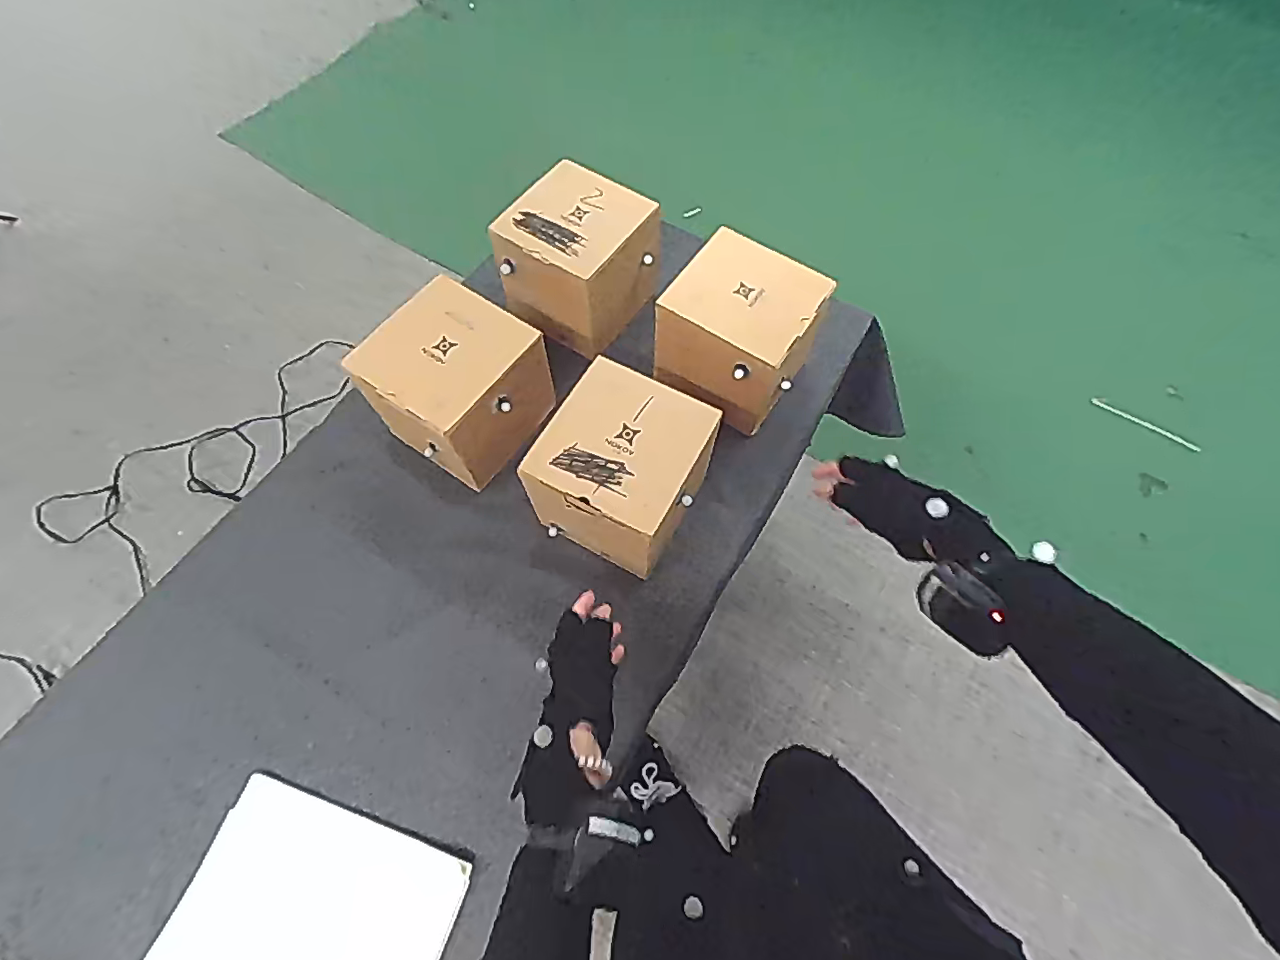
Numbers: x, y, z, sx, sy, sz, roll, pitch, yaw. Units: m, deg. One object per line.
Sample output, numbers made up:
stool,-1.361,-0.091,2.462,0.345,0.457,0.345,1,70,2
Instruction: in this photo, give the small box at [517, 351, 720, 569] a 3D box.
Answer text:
small box,-0.021,-0.015,0.658,0.168,0.176,0.179,27,67,10

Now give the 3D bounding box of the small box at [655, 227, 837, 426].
small box,0.134,-0.204,0.752,0.179,0.176,0.168,33,69,13
